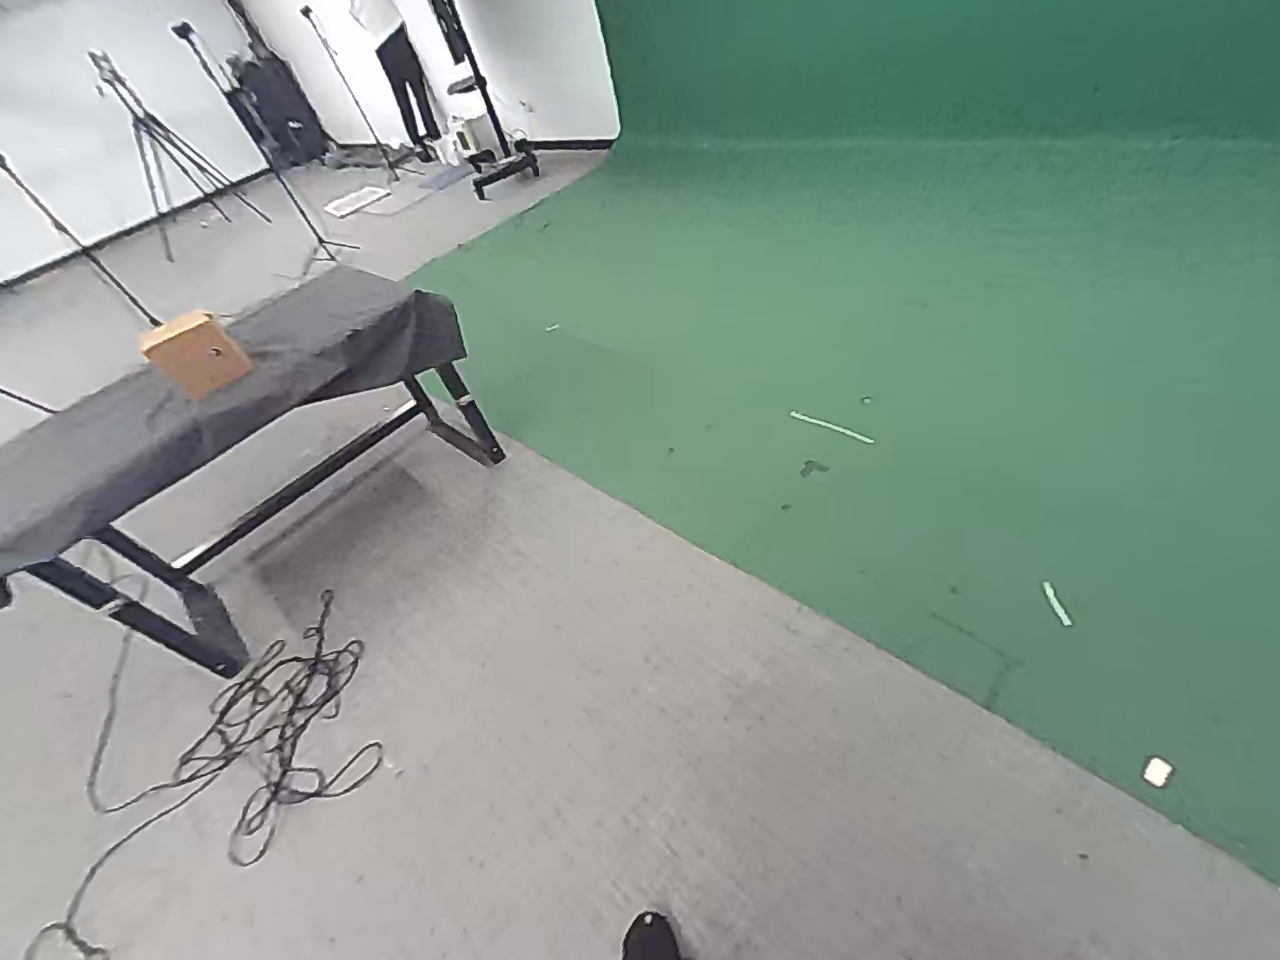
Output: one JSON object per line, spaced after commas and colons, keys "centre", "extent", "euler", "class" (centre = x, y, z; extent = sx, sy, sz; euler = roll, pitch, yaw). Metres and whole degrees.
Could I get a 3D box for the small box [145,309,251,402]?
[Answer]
{"centre": [-1.235, -0.350, 1.522], "extent": [0.179, 0.176, 0.168], "euler": [-38, 46, -18], "class": "small box"}
